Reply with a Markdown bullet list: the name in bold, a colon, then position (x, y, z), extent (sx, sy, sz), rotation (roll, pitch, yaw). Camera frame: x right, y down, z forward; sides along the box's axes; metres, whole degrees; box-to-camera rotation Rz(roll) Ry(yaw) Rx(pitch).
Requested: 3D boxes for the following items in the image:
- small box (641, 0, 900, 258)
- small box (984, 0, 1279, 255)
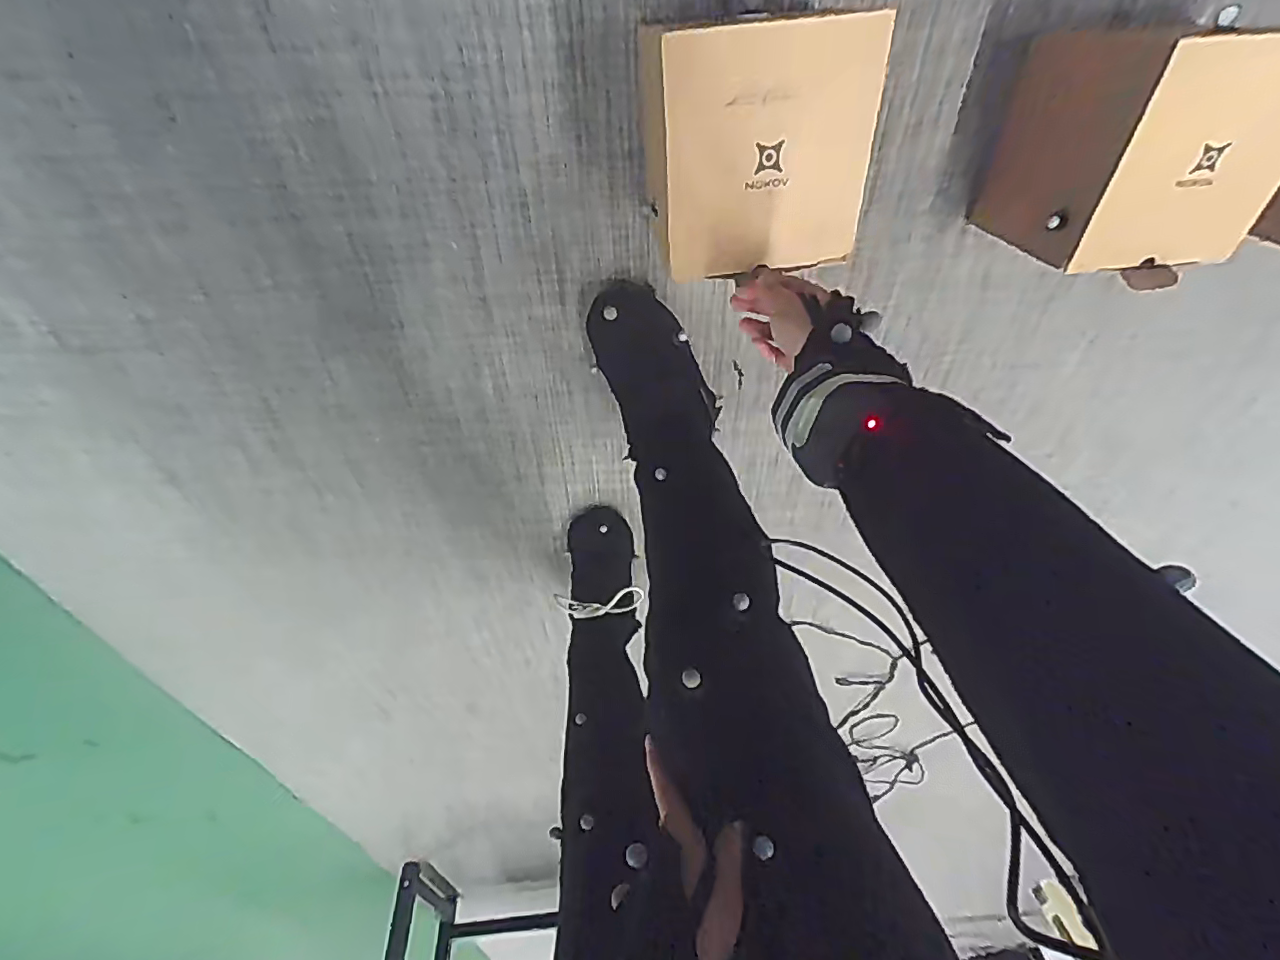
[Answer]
- **small box**: position (0.093, -0.317, 0.472), extent (0.168, 0.176, 0.179), rotation (-7, 131, -2)
- **small box**: position (0.467, -0.331, 0.504), extent (0.168, 0.176, 0.179), rotation (-5, 133, -3)
